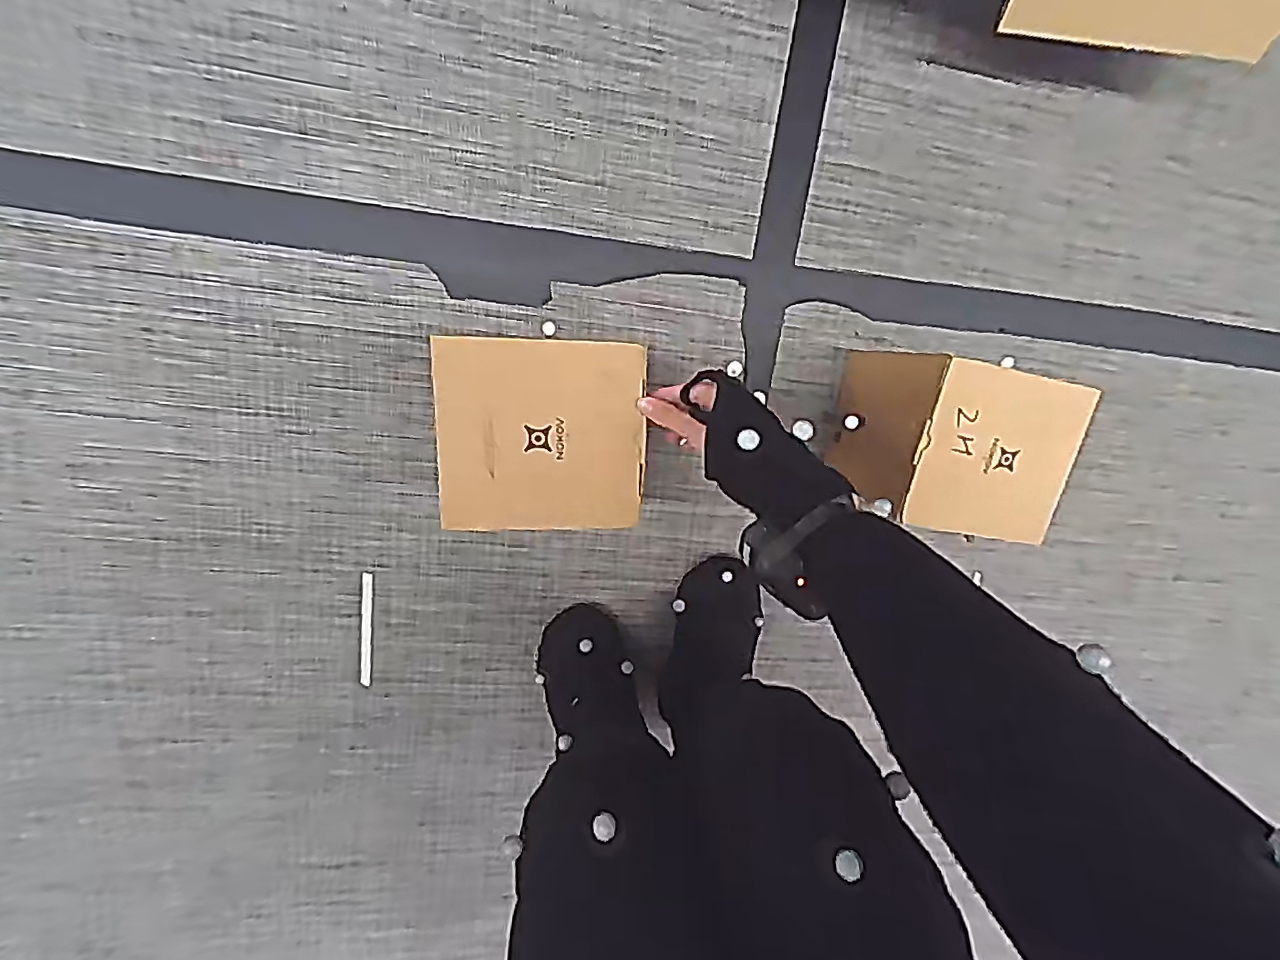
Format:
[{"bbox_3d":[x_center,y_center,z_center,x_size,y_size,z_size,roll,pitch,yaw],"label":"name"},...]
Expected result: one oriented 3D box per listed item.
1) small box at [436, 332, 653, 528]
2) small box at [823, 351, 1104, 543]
[{"bbox_3d":[-0.089,-0.057,0.531,0.179,0.176,0.168,0,104,-8],"label":"small box"},{"bbox_3d":[0.338,-0.046,0.600,0.179,0.176,0.168,9,103,-12],"label":"small box"}]
